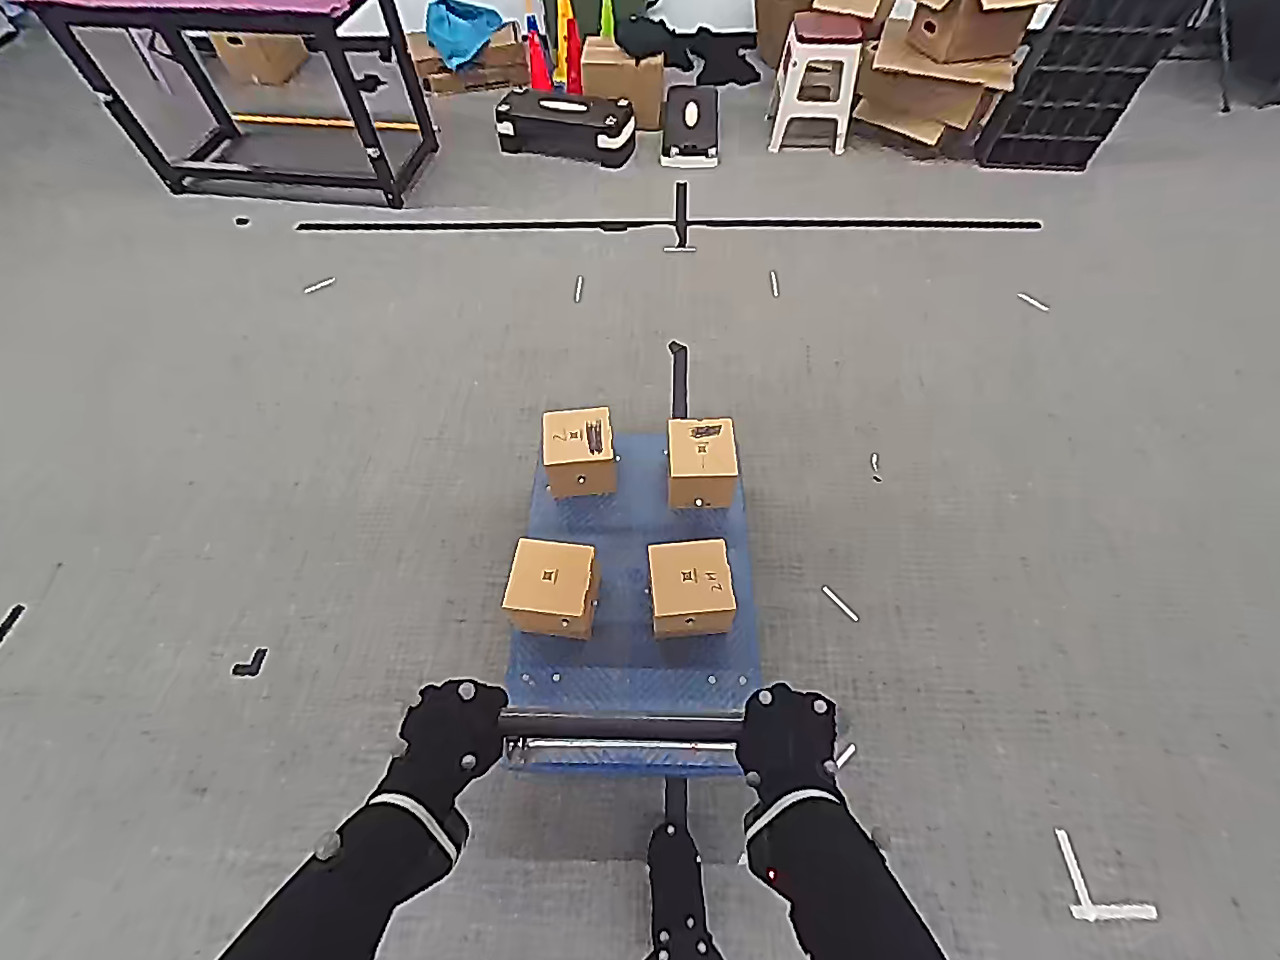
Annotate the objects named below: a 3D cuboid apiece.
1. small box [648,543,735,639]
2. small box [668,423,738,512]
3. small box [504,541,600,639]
[{"bbox_3d":[0.112,0.260,1.245,0.179,0.176,0.168,-4,59,-1],"label":"small box"},{"bbox_3d":[0.160,-0.031,1.424,0.168,0.176,0.179,-1,59,1],"label":"small box"},{"bbox_3d":[-0.195,0.259,1.252,0.179,0.176,0.168,6,58,3],"label":"small box"}]
